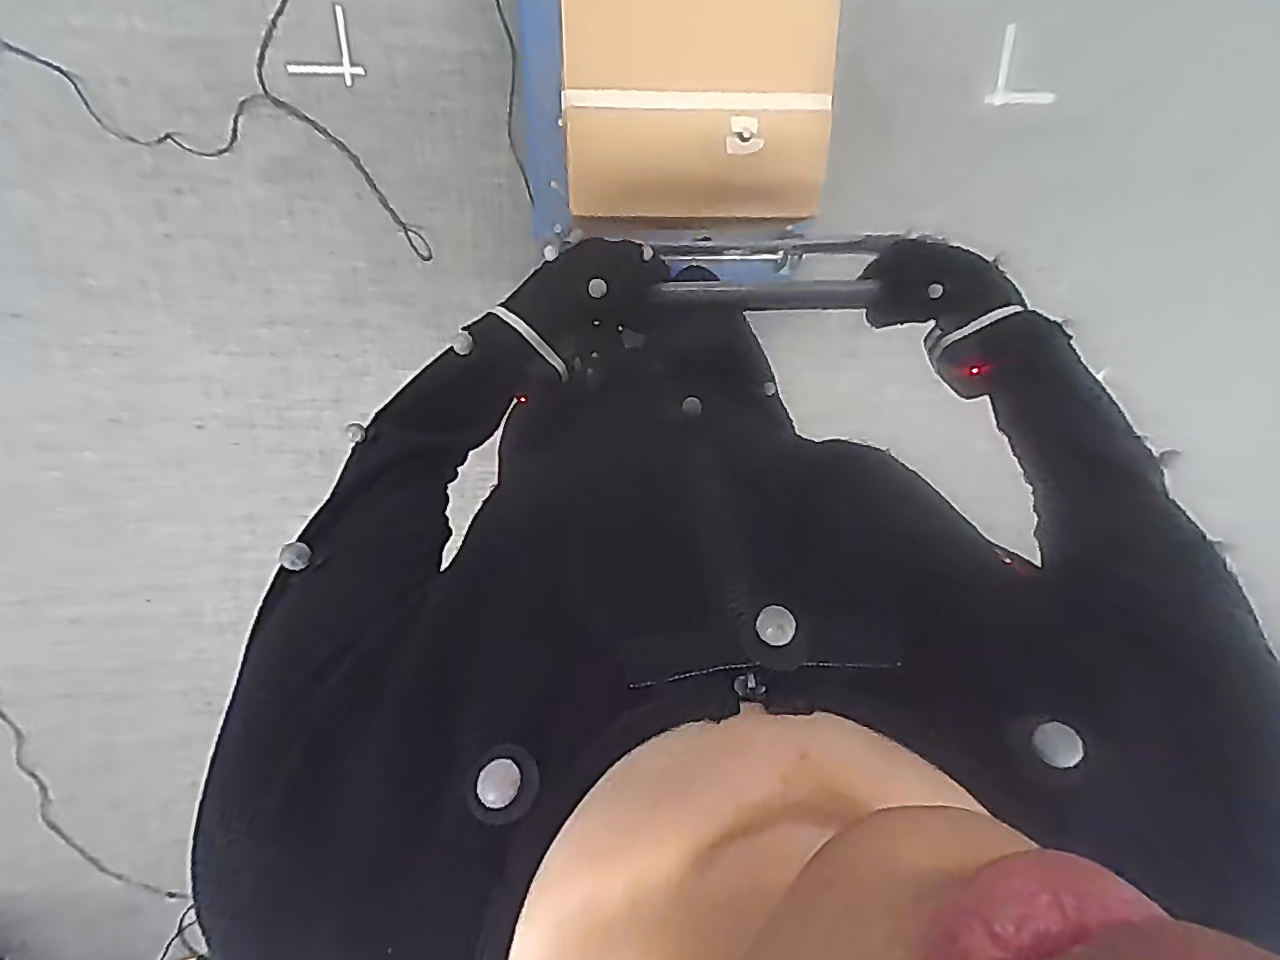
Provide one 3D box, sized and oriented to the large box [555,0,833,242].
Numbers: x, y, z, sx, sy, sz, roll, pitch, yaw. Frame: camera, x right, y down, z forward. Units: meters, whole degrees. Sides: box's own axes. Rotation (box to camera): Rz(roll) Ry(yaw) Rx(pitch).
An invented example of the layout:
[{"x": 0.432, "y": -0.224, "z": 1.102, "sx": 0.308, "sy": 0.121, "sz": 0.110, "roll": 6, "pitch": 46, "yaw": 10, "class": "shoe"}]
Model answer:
[{"x": 0.067, "y": -0.601, "z": 0.946, "sx": 0.408, "sy": 0.320, "sz": 0.320, "roll": -3, "pitch": 110, "yaw": -6, "class": "large box"}]
